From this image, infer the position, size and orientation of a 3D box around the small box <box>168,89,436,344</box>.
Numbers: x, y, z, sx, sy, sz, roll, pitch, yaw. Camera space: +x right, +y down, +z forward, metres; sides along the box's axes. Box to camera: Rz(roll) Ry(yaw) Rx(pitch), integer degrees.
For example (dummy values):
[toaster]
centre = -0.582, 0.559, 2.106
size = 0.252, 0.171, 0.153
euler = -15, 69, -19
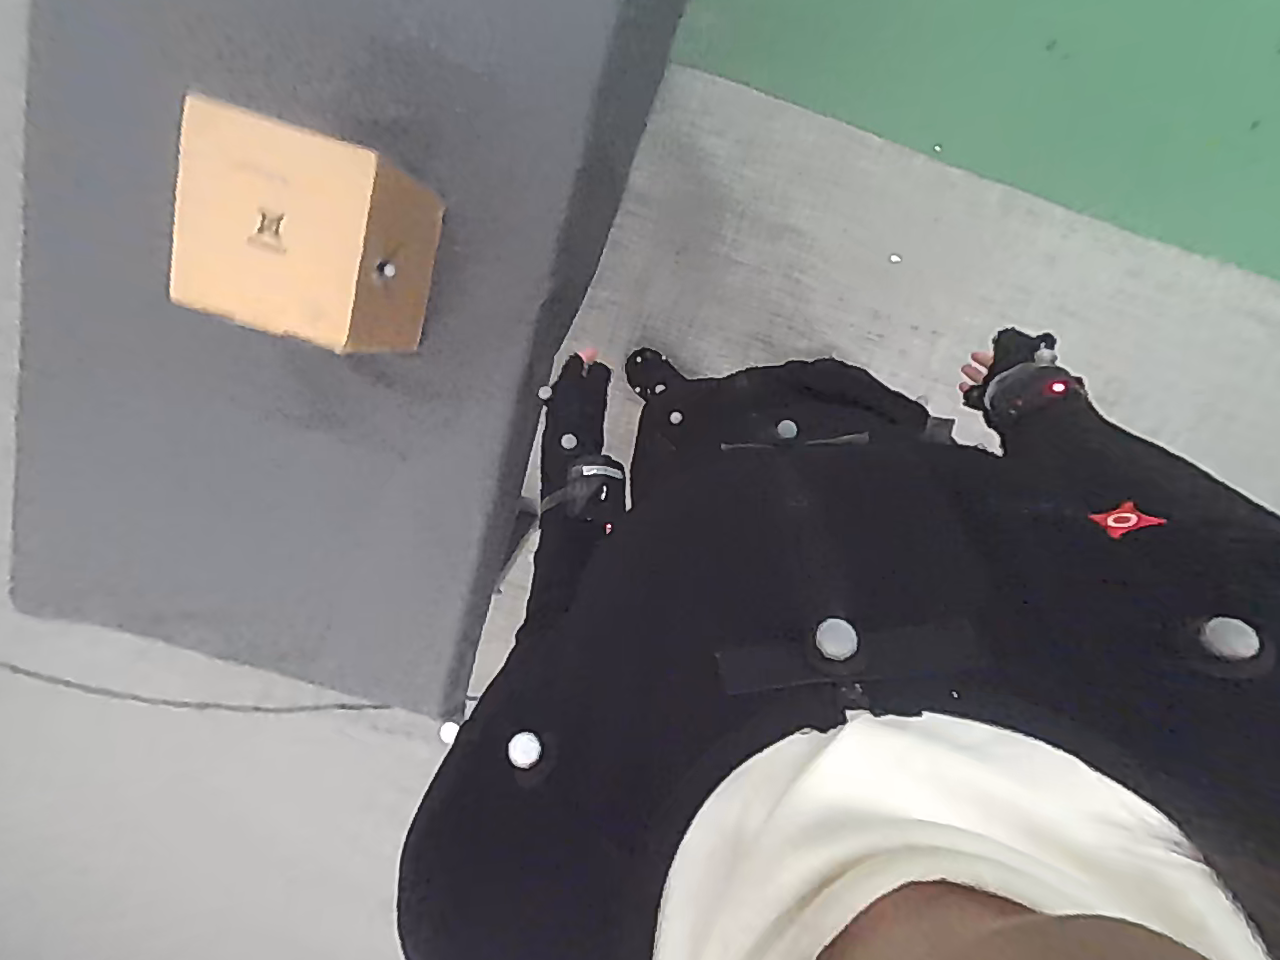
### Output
[small box]
centre = -0.331, -0.249, 0.560
size = 0.168, 0.176, 0.179
euler = 16, 103, -4
